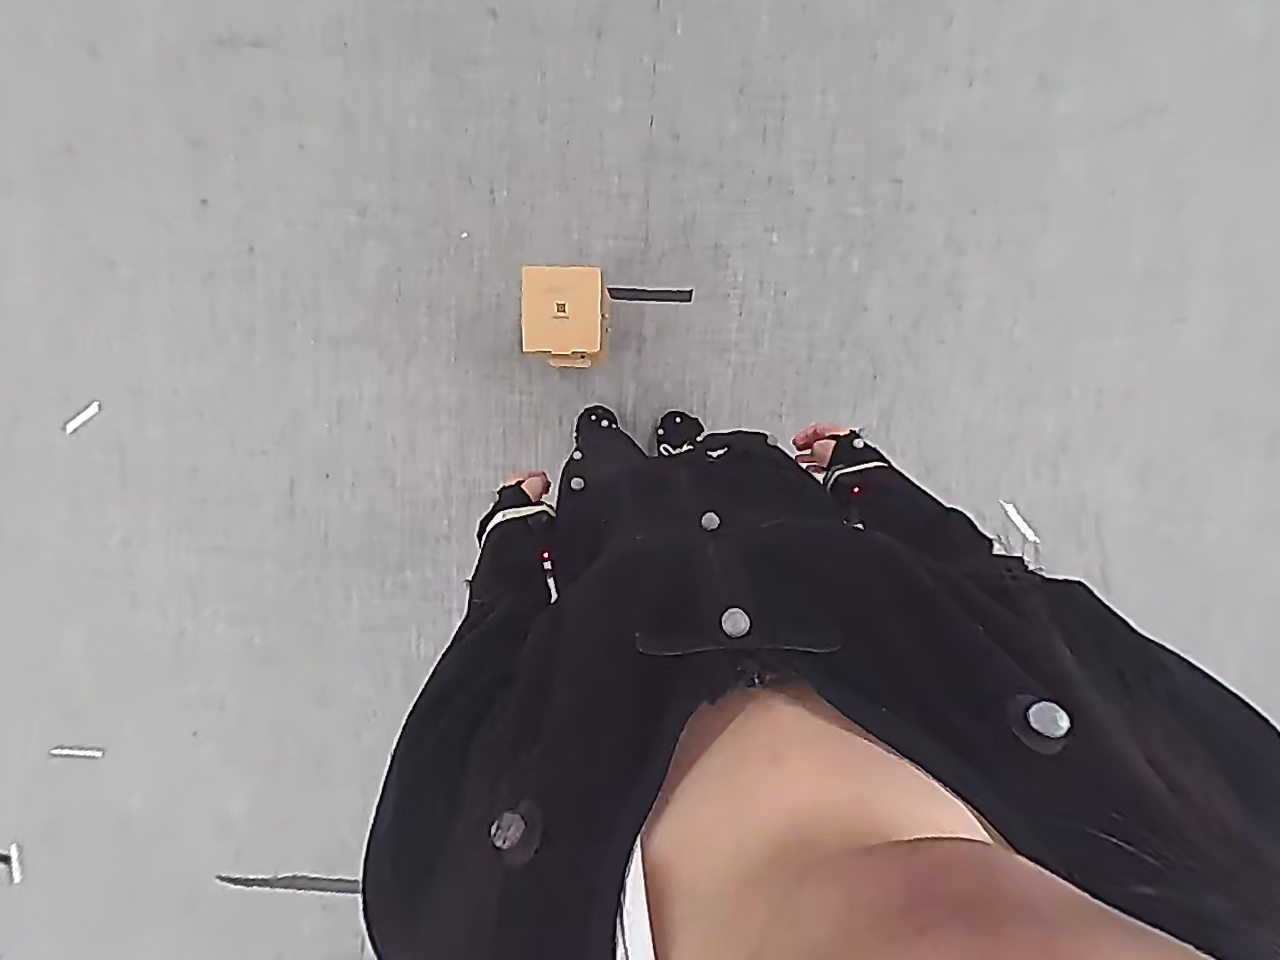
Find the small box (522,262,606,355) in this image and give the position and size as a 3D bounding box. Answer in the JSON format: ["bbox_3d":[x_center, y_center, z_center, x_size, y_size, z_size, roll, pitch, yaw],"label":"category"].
[{"bbox_3d":[-0.163,-0.372,1.198,0.168,0.176,0.179,1,98,0],"label":"small box"}]

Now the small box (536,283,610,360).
[{"bbox_3d":[-0.163,-0.396,1.359,0.168,0.176,0.179,2,98,0],"label":"small box"}]
